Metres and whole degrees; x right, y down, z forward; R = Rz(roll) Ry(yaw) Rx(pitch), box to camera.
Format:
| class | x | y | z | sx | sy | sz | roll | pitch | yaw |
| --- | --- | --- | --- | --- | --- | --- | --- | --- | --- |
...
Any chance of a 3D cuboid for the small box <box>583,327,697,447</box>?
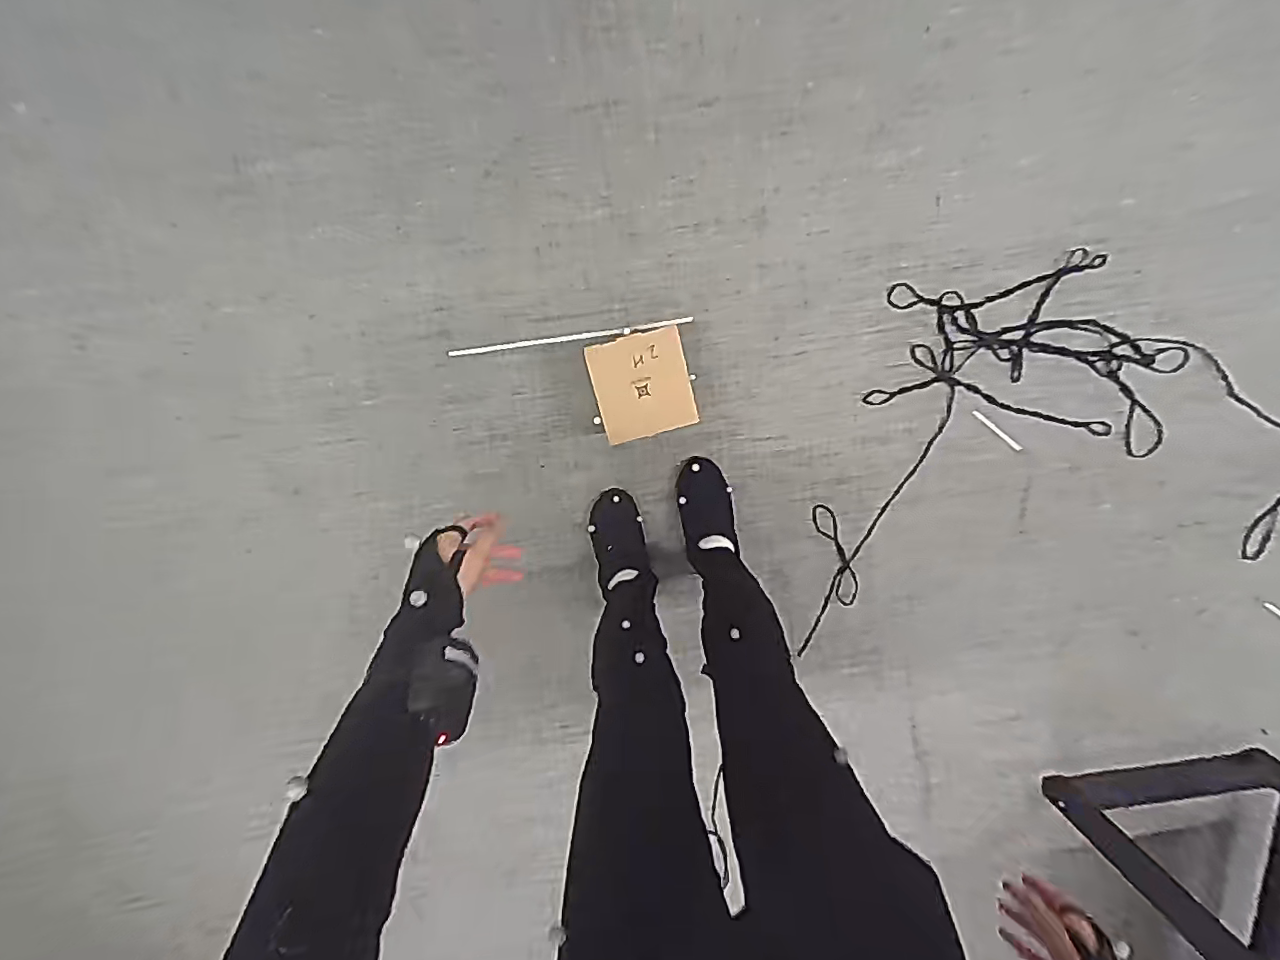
| class | x | y | z | sx | sy | sz | roll | pitch | yaw |
| --- | --- | --- | --- | --- | --- | --- | --- | --- | --- |
| small box | 0.001 | -0.175 | 1.001 | 0.168 | 0.176 | 0.179 | -15 | 103 | 1 |
